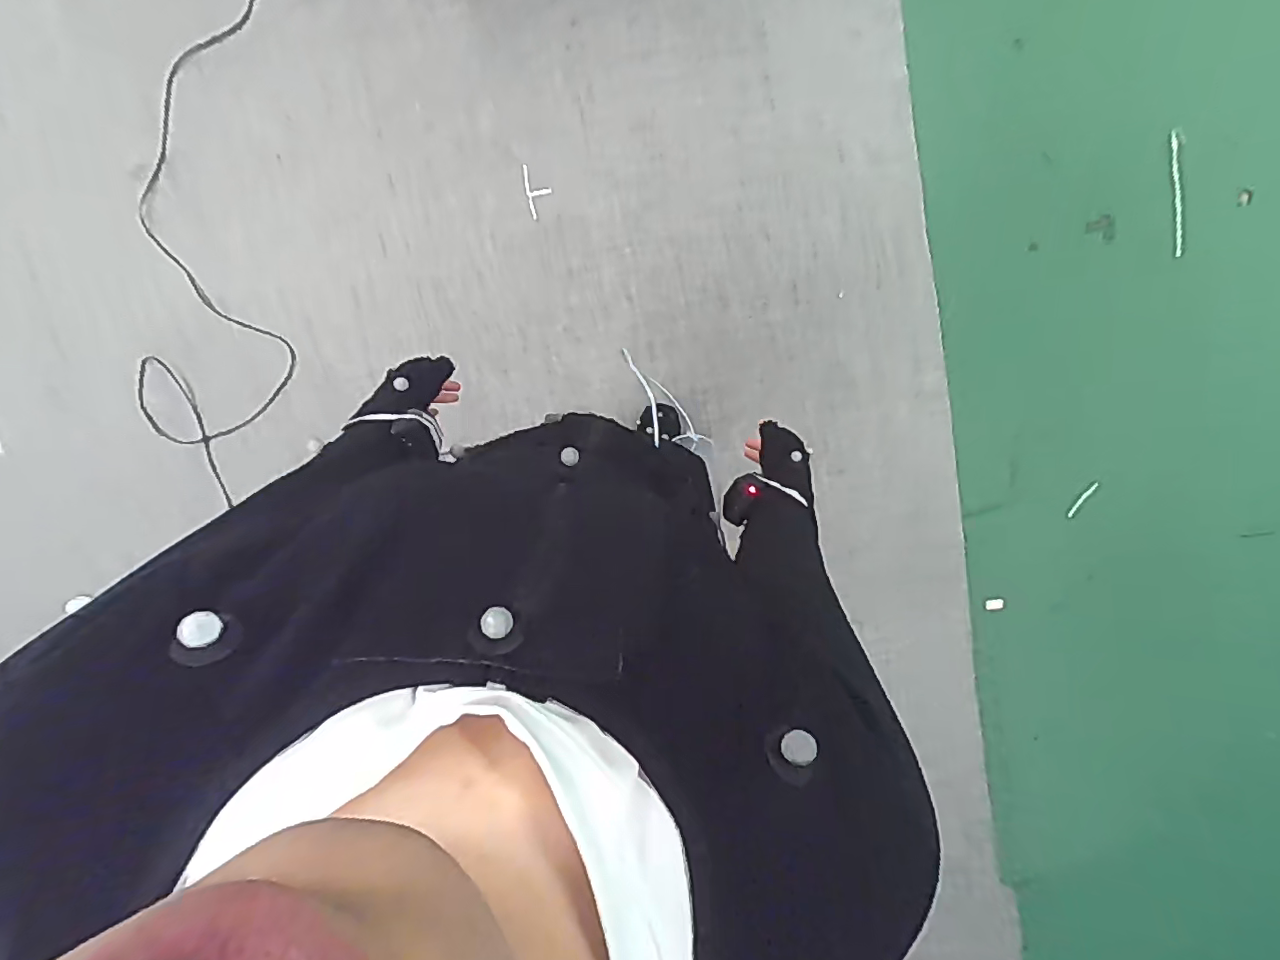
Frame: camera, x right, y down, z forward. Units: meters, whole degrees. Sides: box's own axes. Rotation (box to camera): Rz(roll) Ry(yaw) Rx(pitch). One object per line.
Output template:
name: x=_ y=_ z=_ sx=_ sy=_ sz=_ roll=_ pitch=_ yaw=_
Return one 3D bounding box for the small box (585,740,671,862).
small box: x=-0.030 y=0.738 z=1.269 sx=0.168 sy=0.176 sz=0.179 roll=-12 pitch=98 yaw=-1
